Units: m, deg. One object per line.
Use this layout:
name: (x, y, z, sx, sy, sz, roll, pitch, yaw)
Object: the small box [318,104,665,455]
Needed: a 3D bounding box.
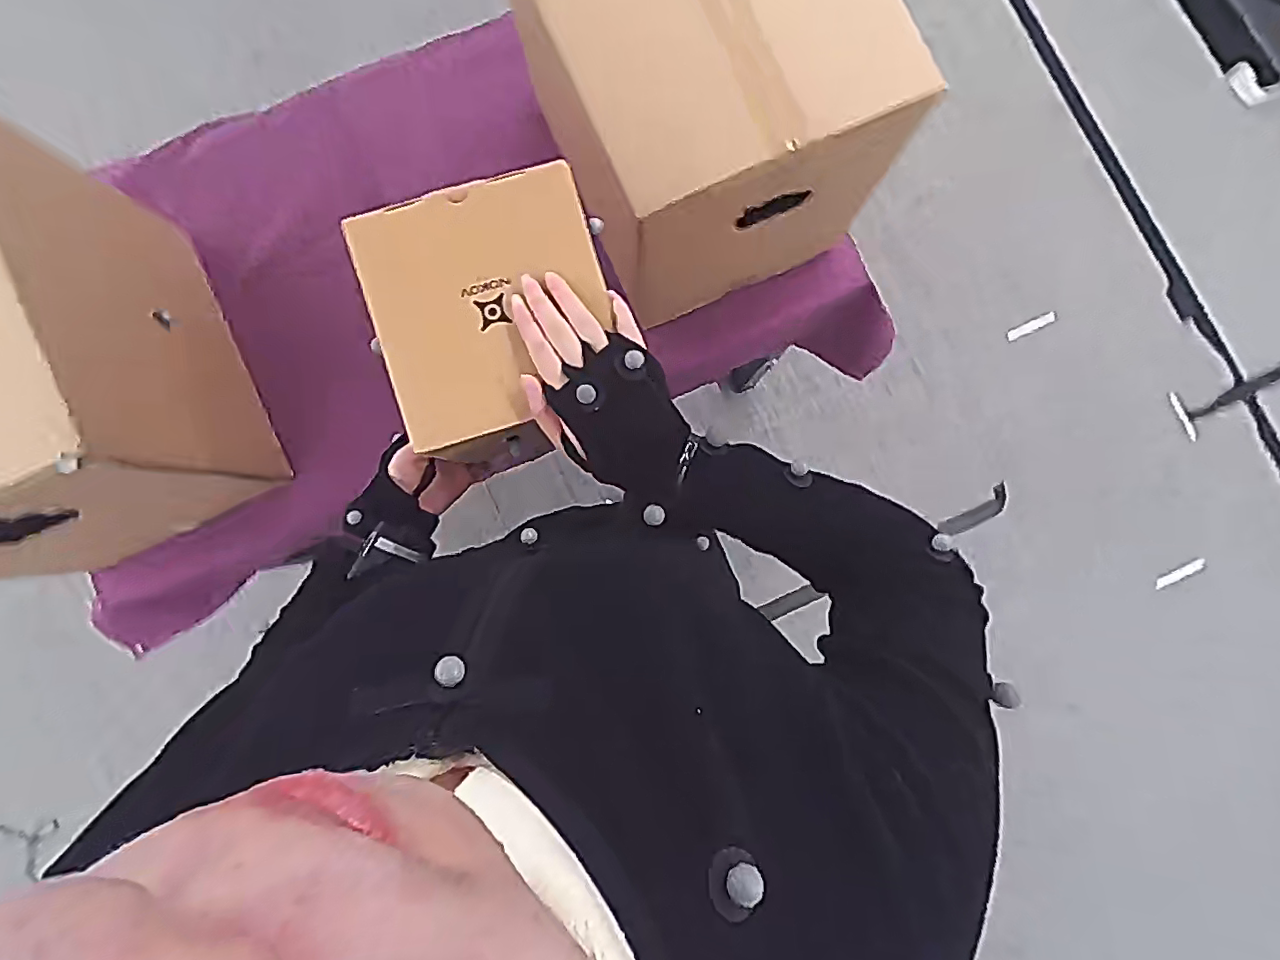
small box: (-0.107, -0.141, 0.421, 0.179, 0.176, 0.168, -23, 71, 15)
